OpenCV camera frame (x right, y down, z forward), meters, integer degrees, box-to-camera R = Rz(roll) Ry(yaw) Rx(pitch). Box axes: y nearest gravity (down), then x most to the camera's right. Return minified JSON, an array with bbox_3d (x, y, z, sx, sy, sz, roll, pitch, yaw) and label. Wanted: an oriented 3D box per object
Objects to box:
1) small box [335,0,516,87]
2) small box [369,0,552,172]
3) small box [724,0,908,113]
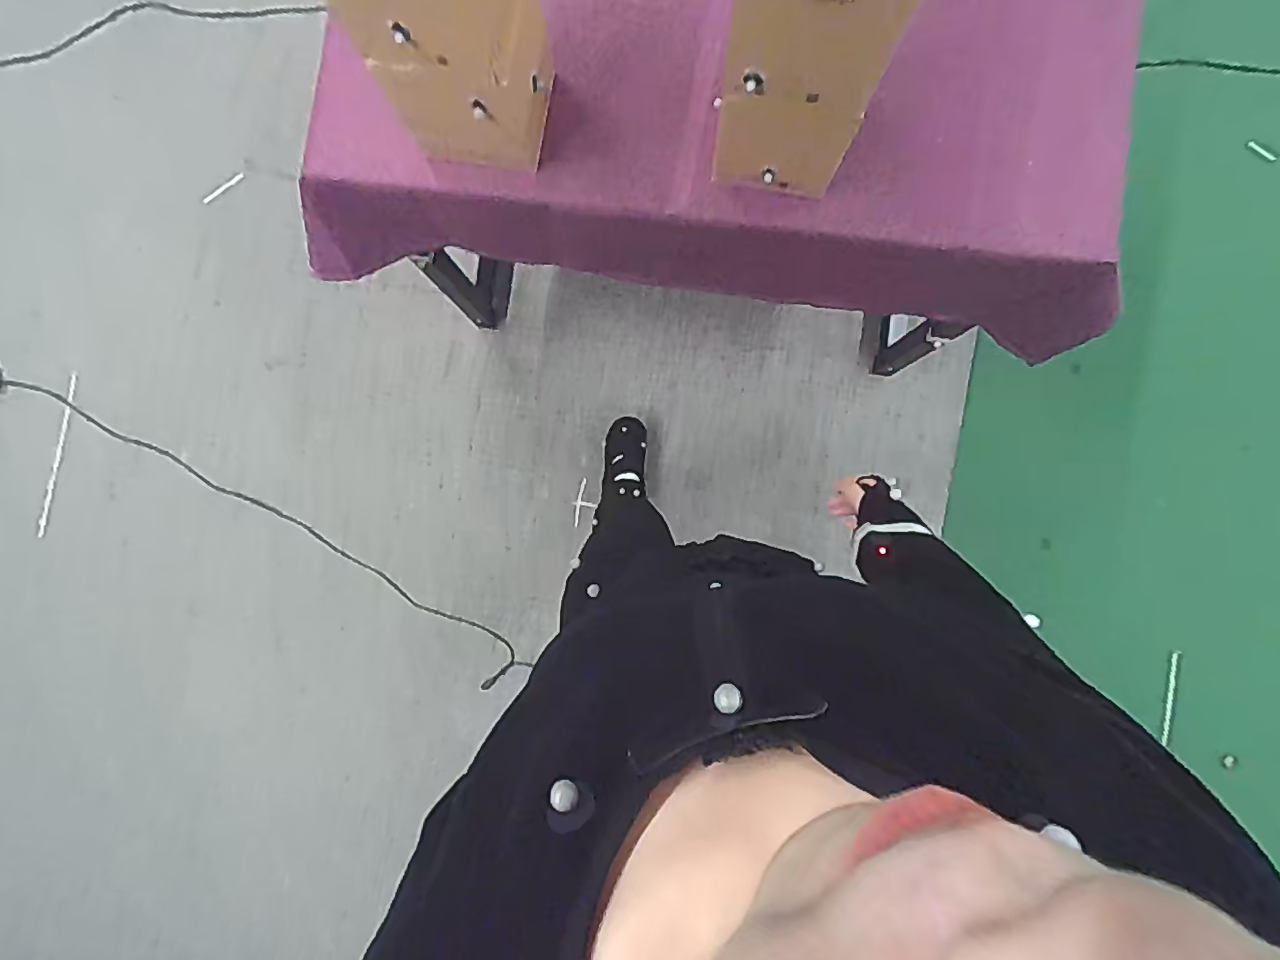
[{"bbox_3d":[-0.236,-0.573,0.575,0.168,0.176,0.179,10,88,3],"label":"small box"},{"bbox_3d":[-0.229,-0.554,0.737,0.179,0.176,0.168,10,87,3],"label":"small box"},{"bbox_3d":[0.186,-0.521,0.551,0.168,0.176,0.179,12,87,3],"label":"small box"}]
